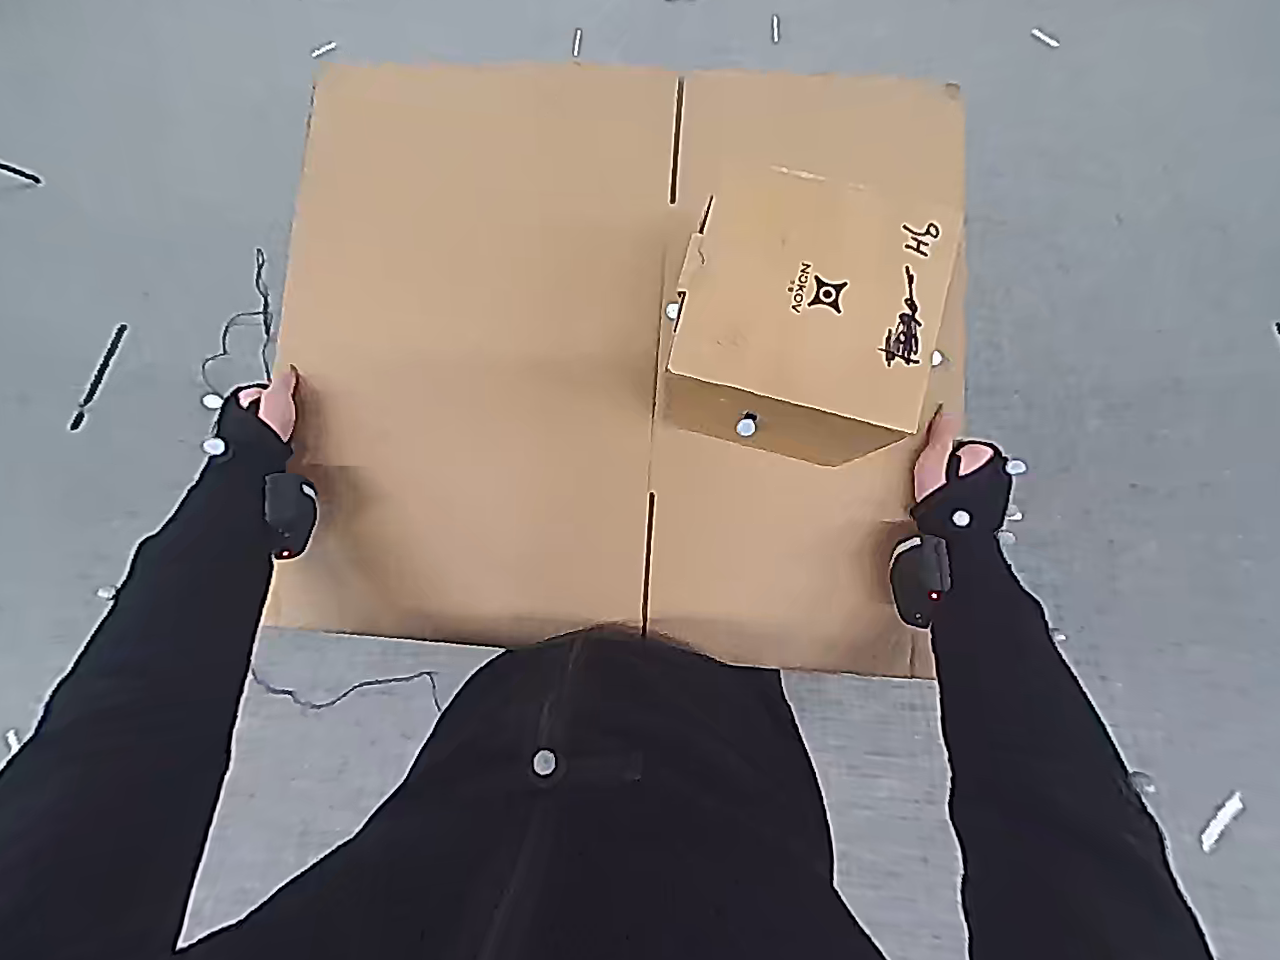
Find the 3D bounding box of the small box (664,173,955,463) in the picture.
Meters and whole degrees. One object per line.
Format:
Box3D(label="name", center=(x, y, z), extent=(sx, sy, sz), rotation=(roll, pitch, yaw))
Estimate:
Box3D(label="small box", center=(0.124, -0.118, 0.461), extent=(0.179, 0.176, 0.168), rotation=(14, 85, 4))
